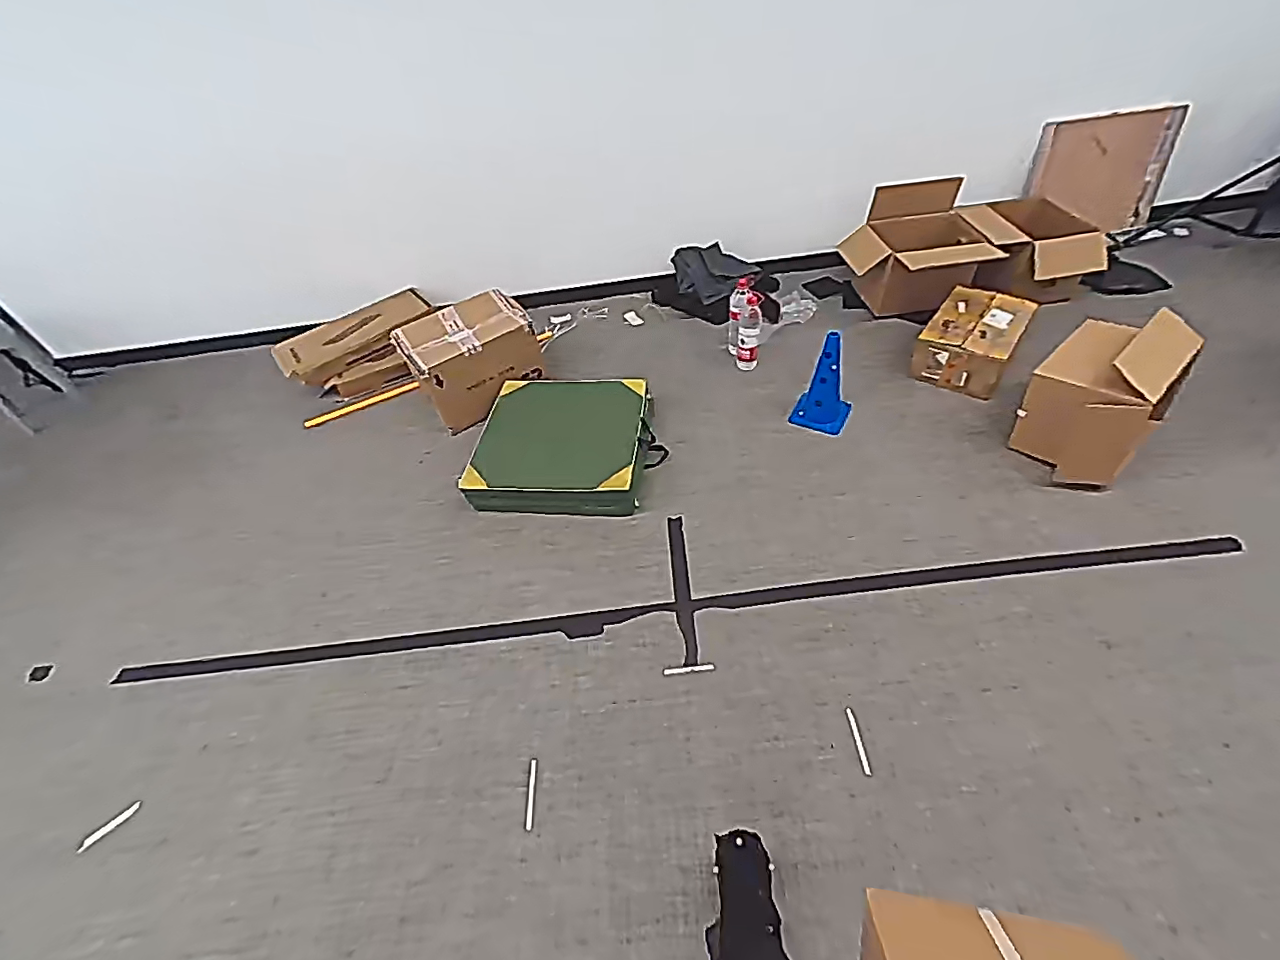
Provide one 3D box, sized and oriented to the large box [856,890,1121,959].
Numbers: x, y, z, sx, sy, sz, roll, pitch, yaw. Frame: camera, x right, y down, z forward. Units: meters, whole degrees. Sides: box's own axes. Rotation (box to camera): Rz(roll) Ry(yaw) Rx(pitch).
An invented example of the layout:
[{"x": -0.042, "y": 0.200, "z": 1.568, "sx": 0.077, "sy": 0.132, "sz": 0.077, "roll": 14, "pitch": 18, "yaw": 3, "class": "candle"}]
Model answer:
[{"x": 0.416, "y": 0.741, "z": 0.548, "sx": 0.320, "sy": 0.408, "sz": 0.320, "roll": 3, "pitch": 91, "yaw": 11, "class": "large box"}]
